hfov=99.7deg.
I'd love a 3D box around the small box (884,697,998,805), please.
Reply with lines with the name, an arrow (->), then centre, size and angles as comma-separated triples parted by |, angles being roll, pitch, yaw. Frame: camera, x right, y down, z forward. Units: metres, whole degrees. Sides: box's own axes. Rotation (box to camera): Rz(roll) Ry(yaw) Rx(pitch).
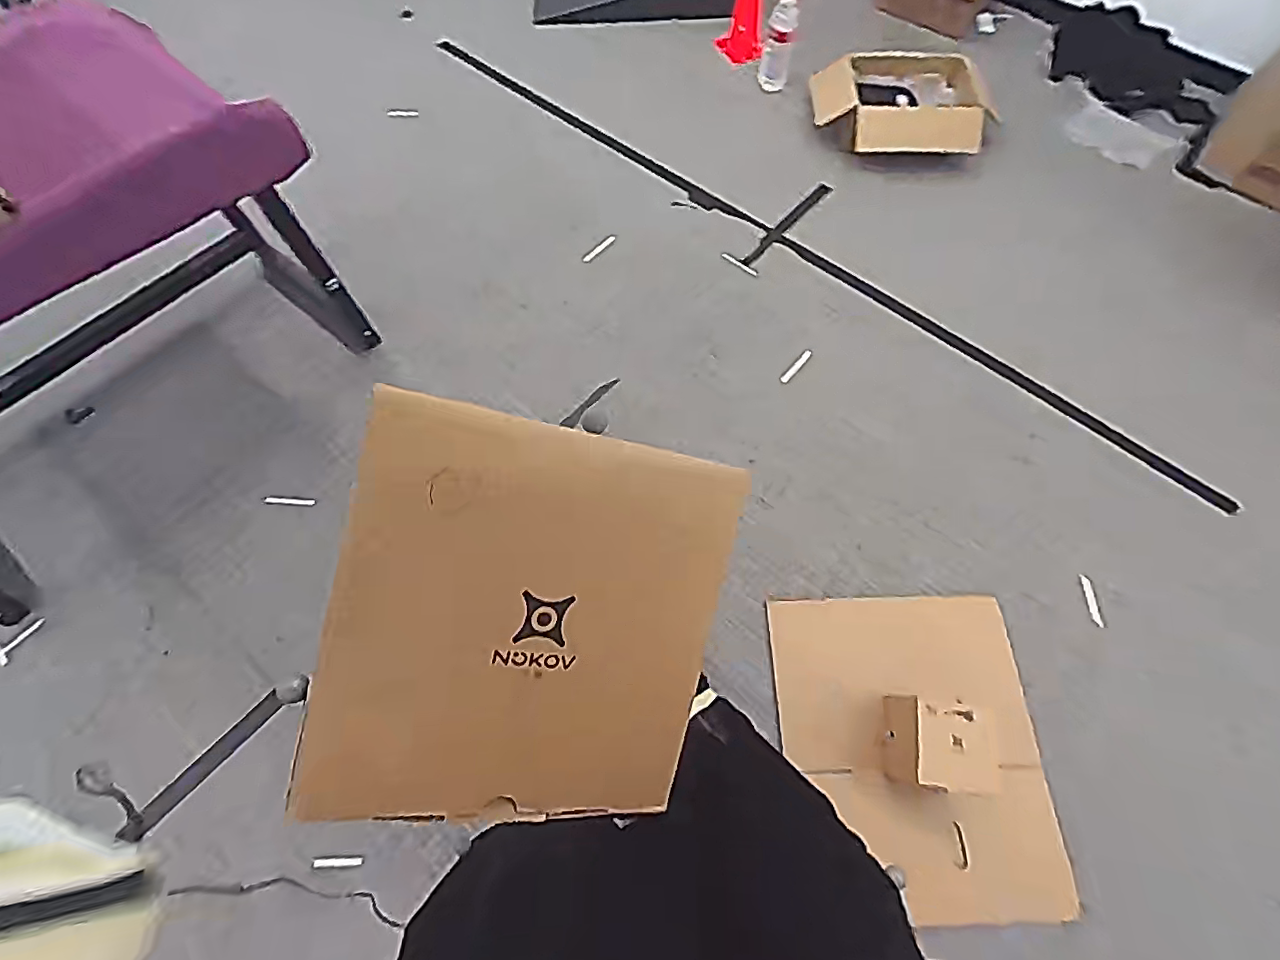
small box -> 0.662, 0.593, 1.204 | 0.168, 0.176, 0.179 | 10, 70, 3
